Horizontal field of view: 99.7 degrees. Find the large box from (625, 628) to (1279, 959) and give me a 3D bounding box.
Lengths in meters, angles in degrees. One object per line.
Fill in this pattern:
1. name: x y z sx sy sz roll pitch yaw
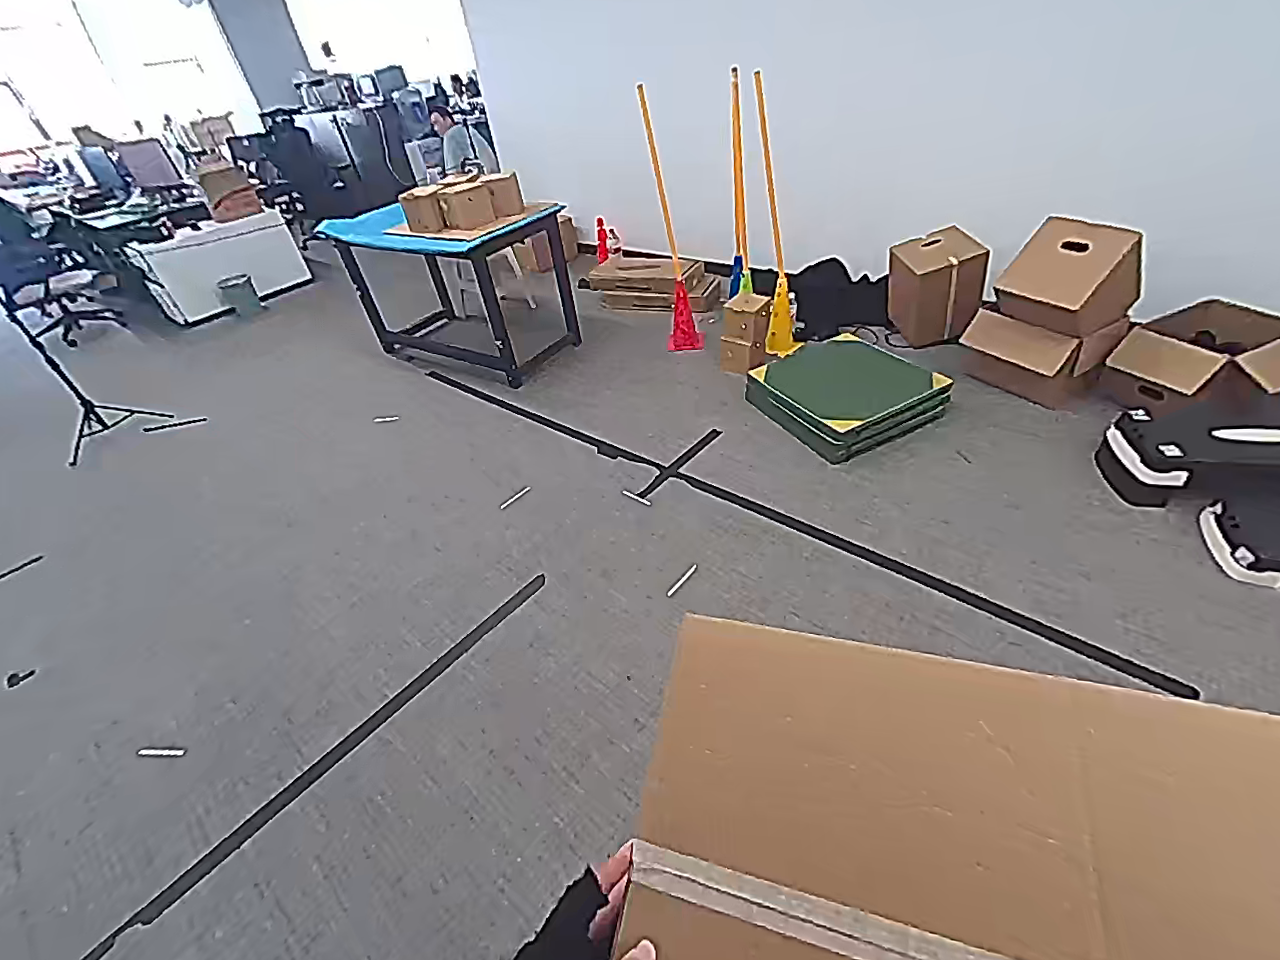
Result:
1. large box: 0.224 0.333 0.391 0.408 0.320 0.320 5 60 21
